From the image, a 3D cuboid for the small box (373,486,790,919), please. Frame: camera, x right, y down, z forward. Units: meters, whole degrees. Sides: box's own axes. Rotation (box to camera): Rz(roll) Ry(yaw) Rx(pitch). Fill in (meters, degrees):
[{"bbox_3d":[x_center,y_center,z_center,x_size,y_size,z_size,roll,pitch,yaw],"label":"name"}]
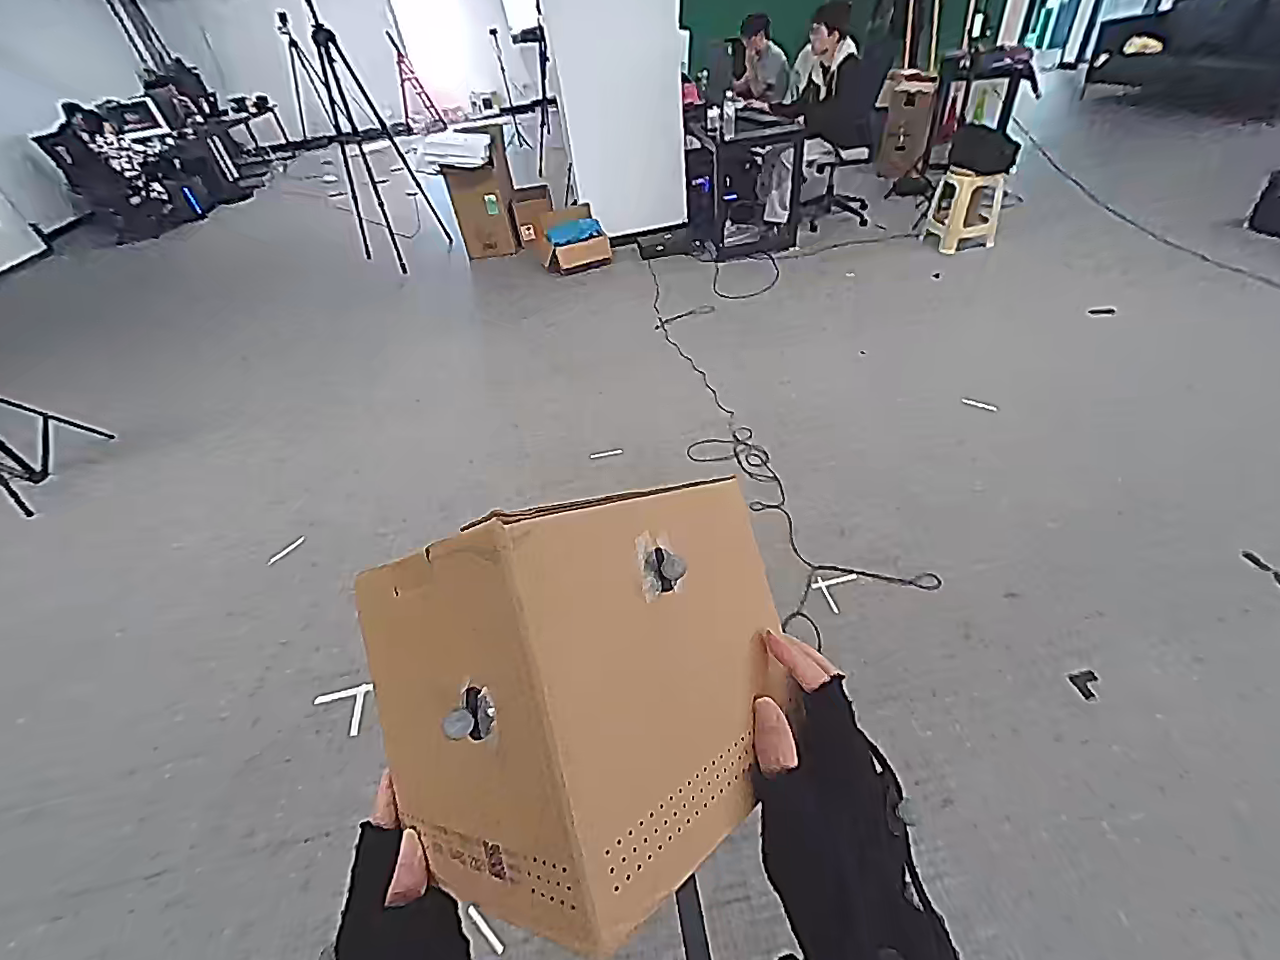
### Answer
[{"bbox_3d":[-0.032,0.114,0.333,0.179,0.176,0.168,-8,-10,-46],"label":"small box"}]
